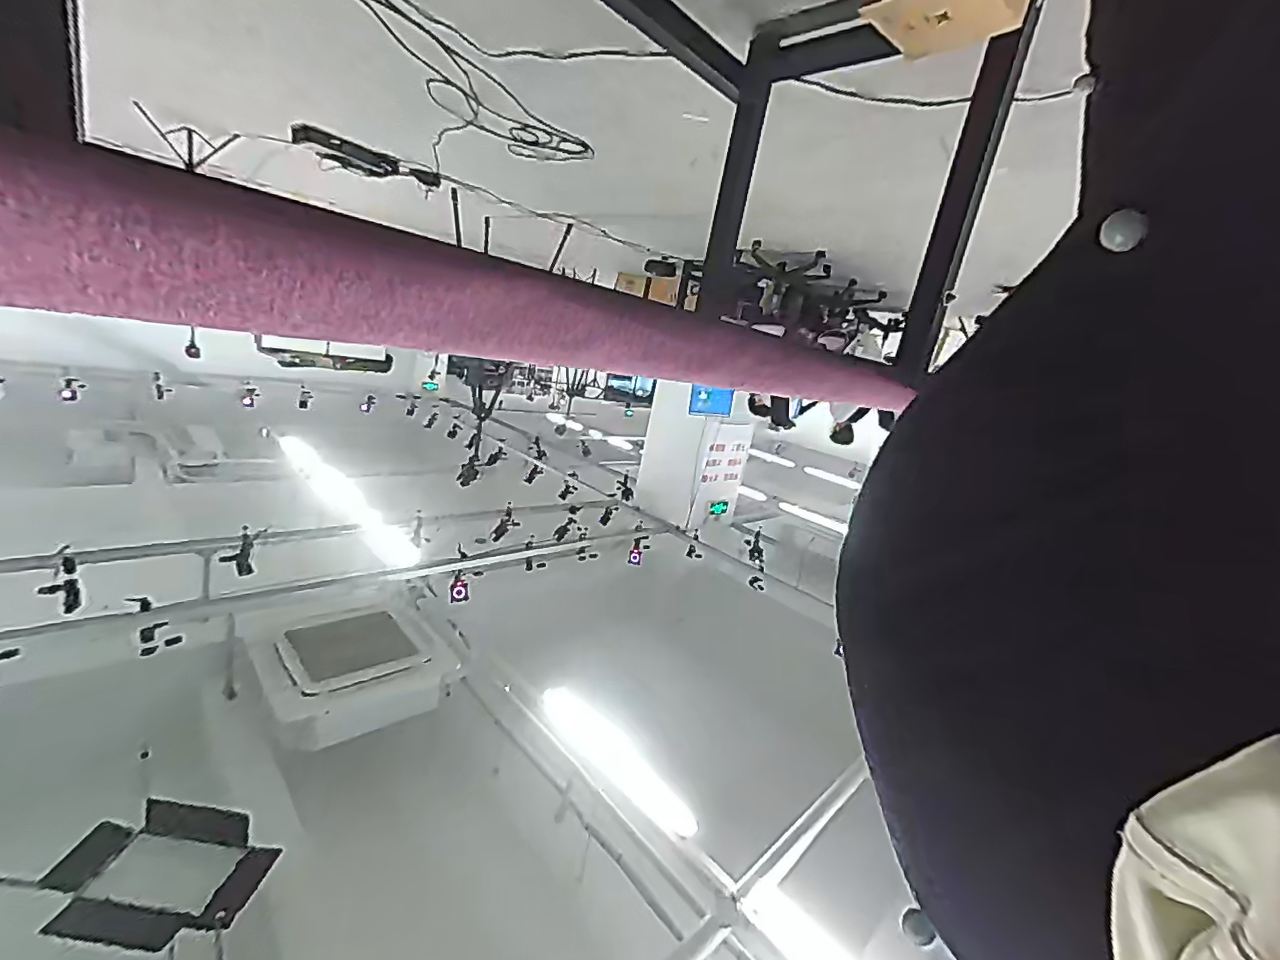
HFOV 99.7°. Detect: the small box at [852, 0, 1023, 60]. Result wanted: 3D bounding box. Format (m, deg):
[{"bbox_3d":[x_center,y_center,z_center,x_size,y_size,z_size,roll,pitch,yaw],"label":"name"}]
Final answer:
[{"bbox_3d":[0.441,-0.756,0.773,0.168,0.176,0.179,0,-162,-38],"label":"small box"}]
